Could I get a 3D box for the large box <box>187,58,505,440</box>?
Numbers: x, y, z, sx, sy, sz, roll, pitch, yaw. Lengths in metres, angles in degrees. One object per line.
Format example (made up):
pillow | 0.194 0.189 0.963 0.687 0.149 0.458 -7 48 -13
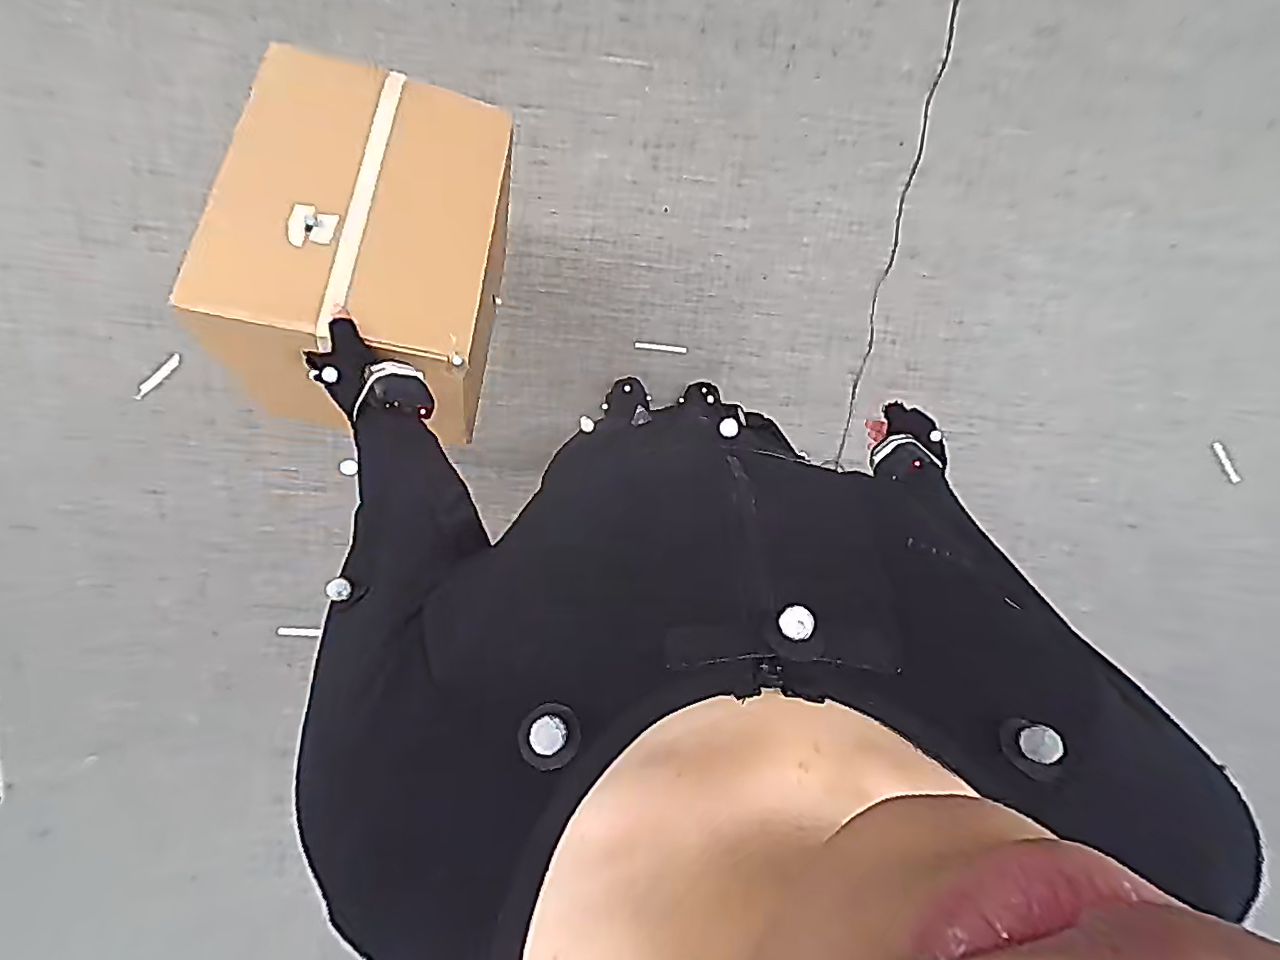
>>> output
large box | -0.394 -0.315 0.836 0.320 0.320 0.408 8 73 -13
